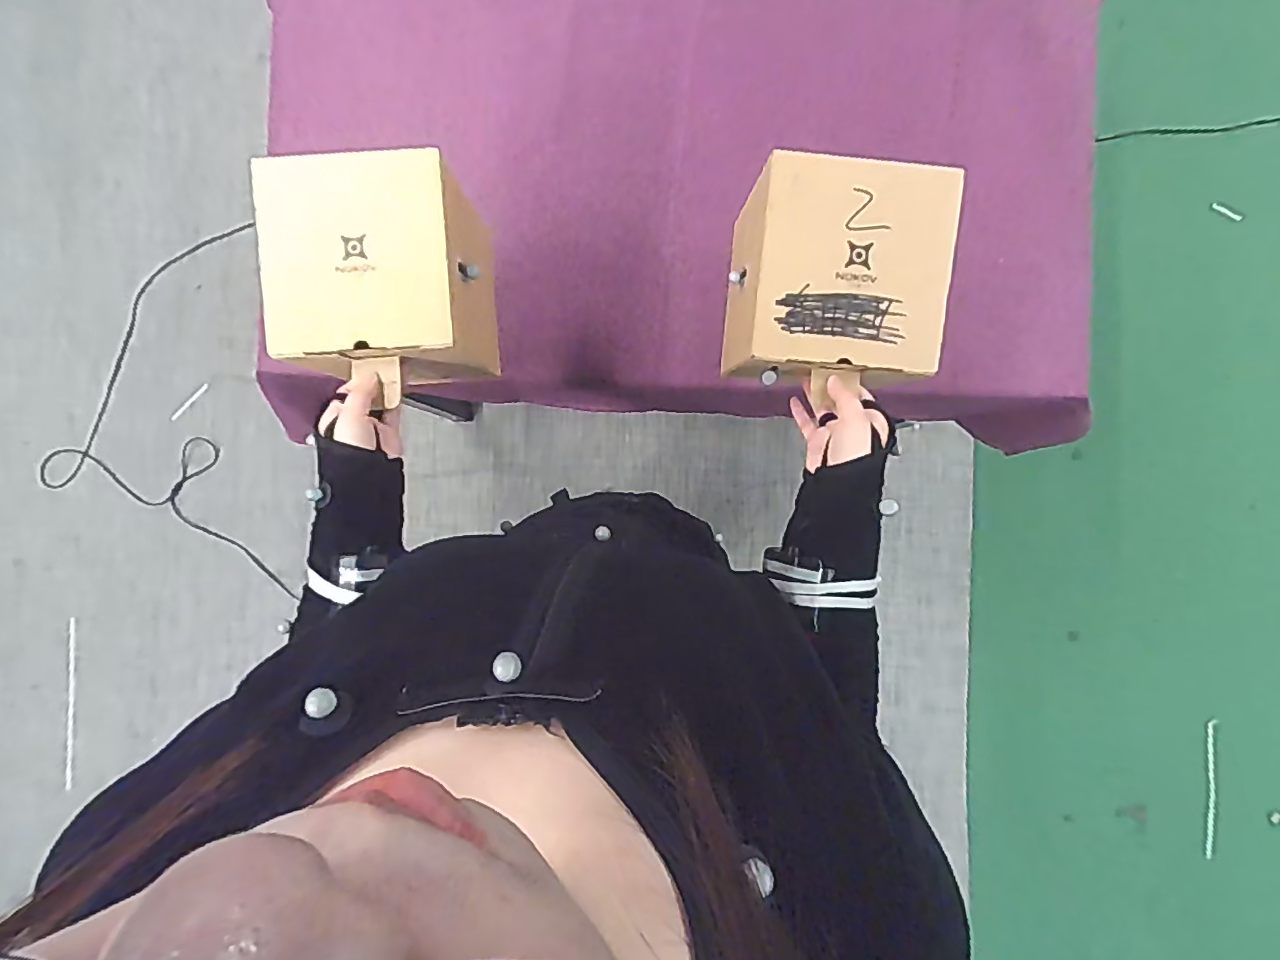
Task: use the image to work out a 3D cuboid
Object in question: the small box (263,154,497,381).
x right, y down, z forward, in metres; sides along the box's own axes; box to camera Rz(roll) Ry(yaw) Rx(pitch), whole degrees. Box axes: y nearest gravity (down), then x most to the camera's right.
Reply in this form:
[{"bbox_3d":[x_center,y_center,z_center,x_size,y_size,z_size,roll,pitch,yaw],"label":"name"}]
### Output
[{"bbox_3d":[-0.255,-0.208,0.571,0.168,0.176,0.179,-4,92,-1],"label":"small box"}]
